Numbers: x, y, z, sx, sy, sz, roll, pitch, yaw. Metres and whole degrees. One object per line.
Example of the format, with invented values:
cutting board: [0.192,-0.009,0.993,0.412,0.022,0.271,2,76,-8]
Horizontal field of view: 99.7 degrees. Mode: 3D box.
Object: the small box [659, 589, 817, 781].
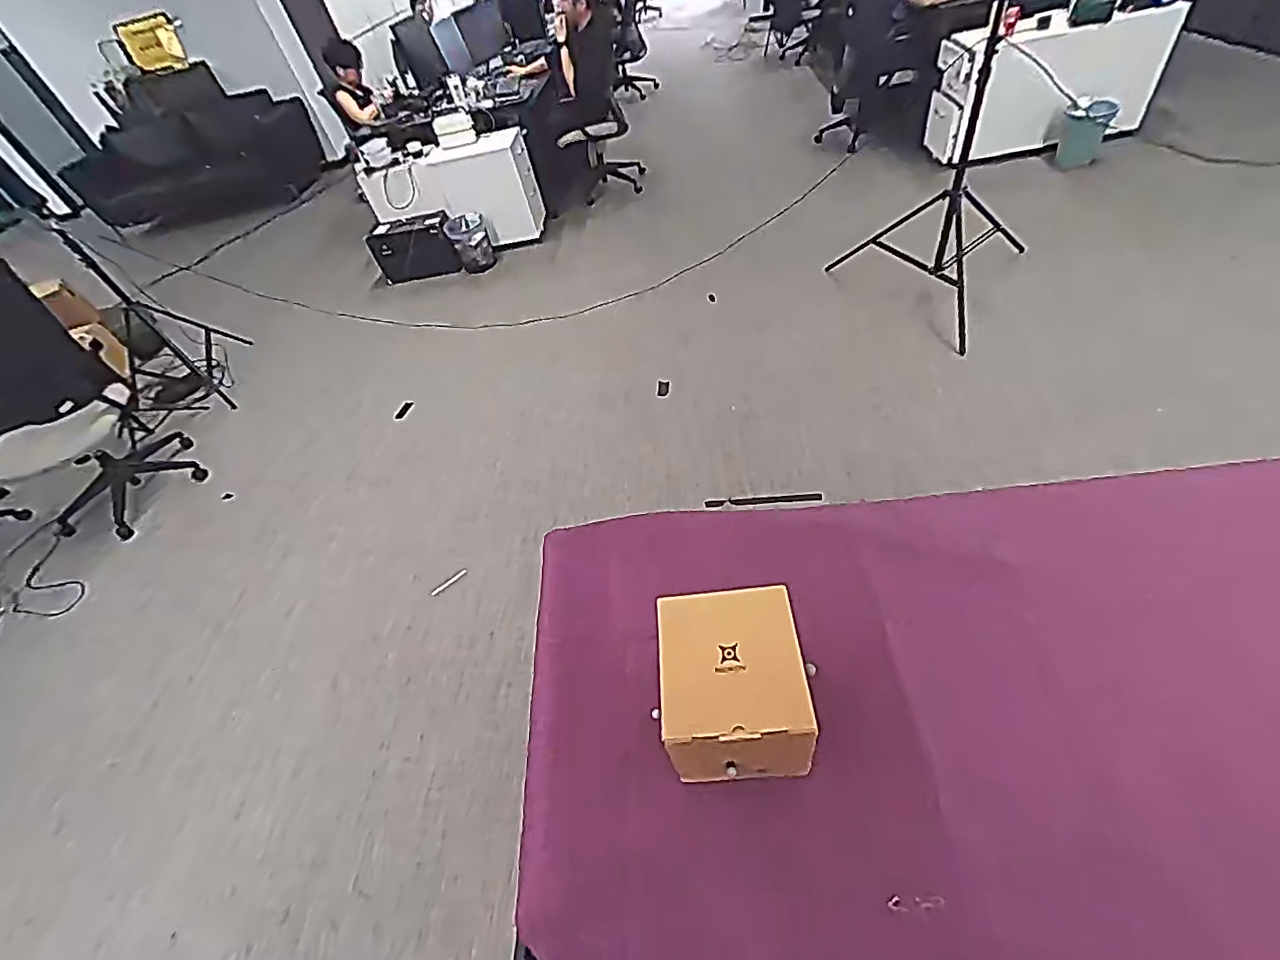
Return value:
small box: [0.116,0.262,0.687,0.168,0.176,0.179,-7,48,6]
